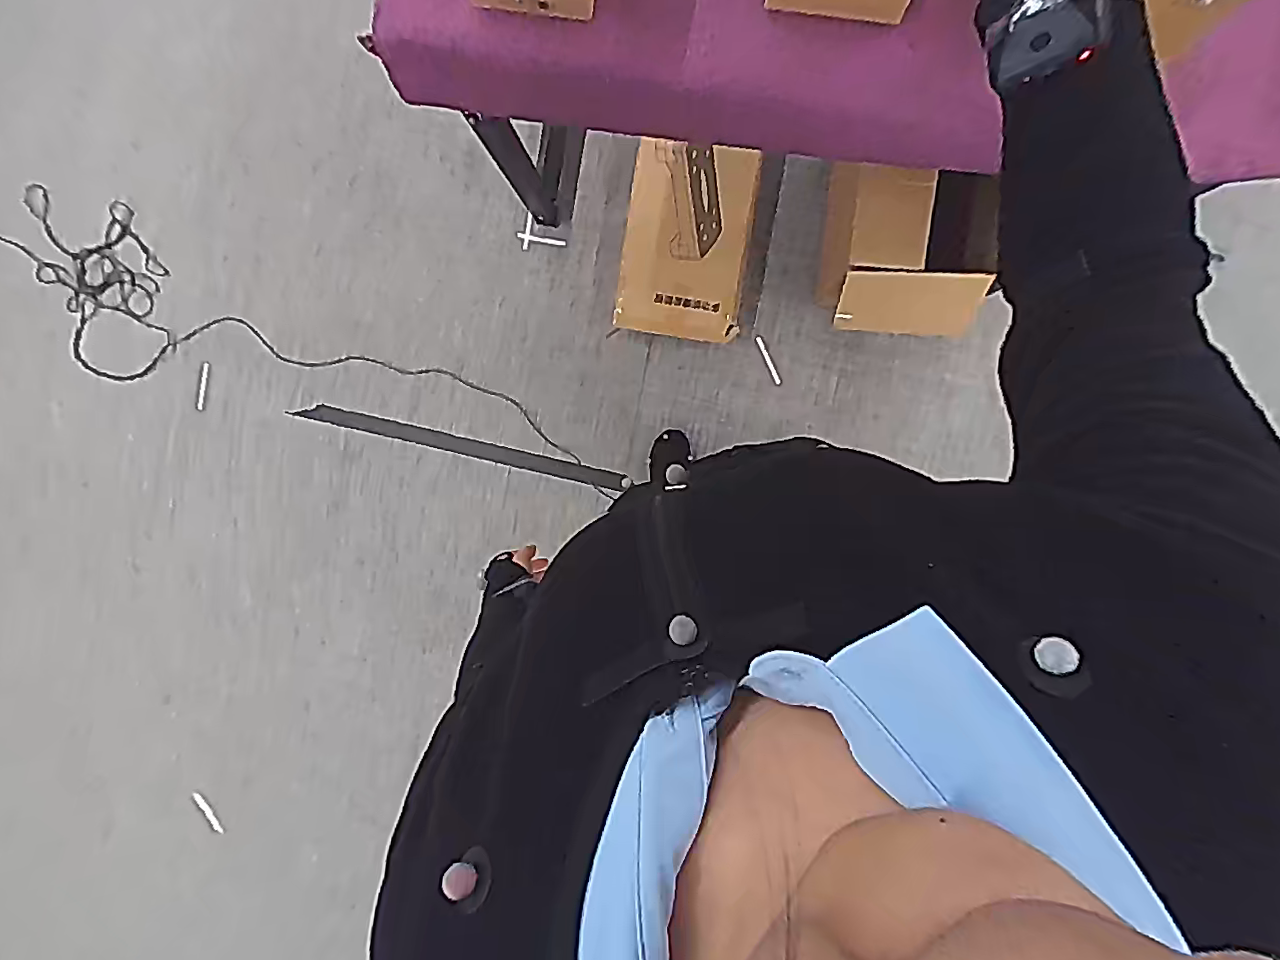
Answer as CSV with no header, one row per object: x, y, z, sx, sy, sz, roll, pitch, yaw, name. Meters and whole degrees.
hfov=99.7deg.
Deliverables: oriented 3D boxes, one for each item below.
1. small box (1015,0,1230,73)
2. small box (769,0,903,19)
0.564,-0.595,0.593,0.179,0.176,0.168,17,96,3,small box
0.256,-0.674,0.610,0.179,0.176,0.168,10,93,4,small box
